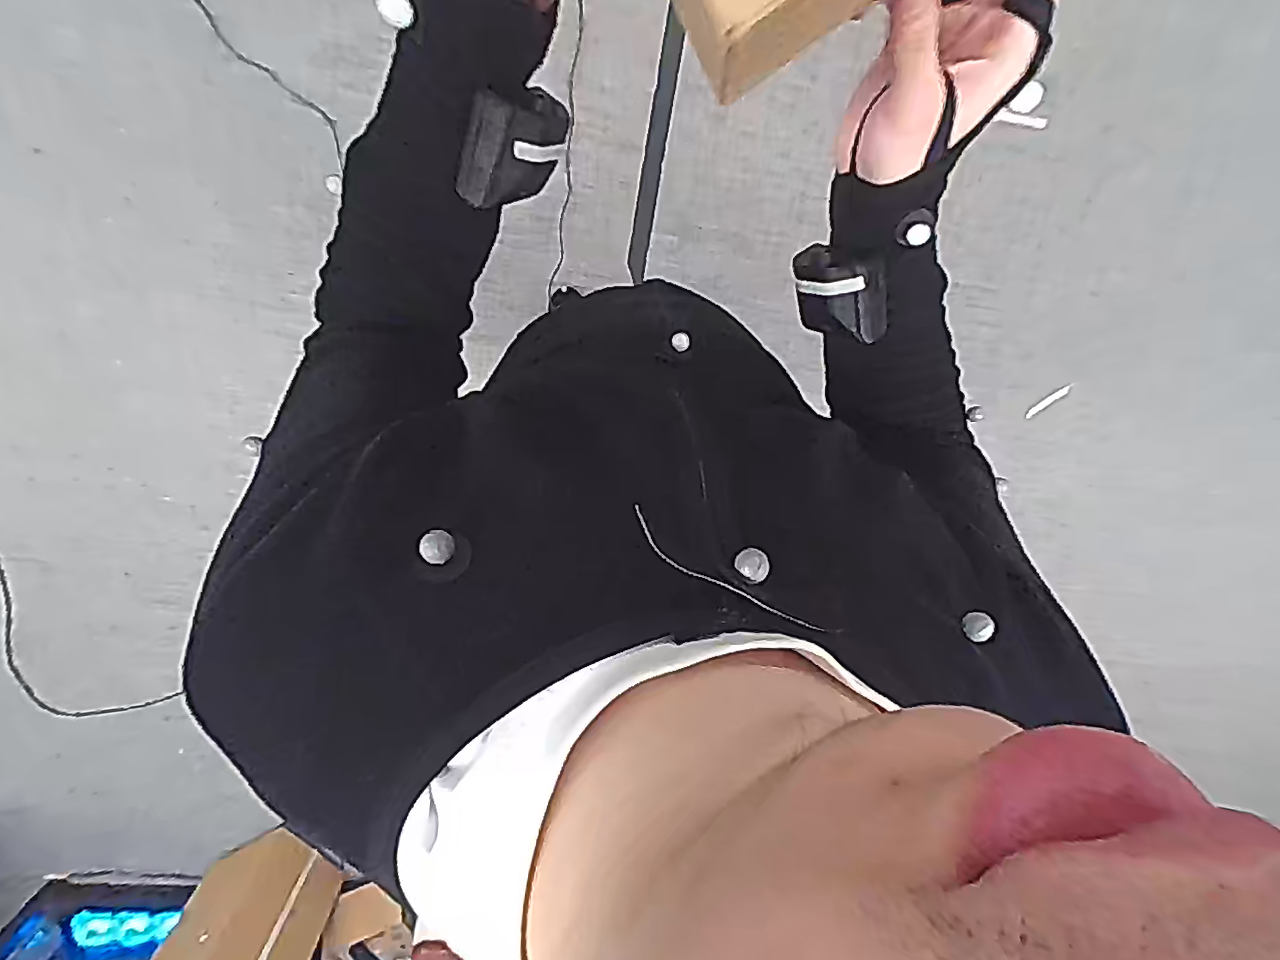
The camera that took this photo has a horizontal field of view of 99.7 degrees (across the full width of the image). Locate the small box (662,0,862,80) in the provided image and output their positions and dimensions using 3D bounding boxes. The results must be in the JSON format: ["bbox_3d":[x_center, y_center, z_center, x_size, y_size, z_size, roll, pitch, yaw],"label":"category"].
[{"bbox_3d":[0.054,-0.250,0.148,0.168,0.176,0.179,-27,112,20],"label":"small box"}]
